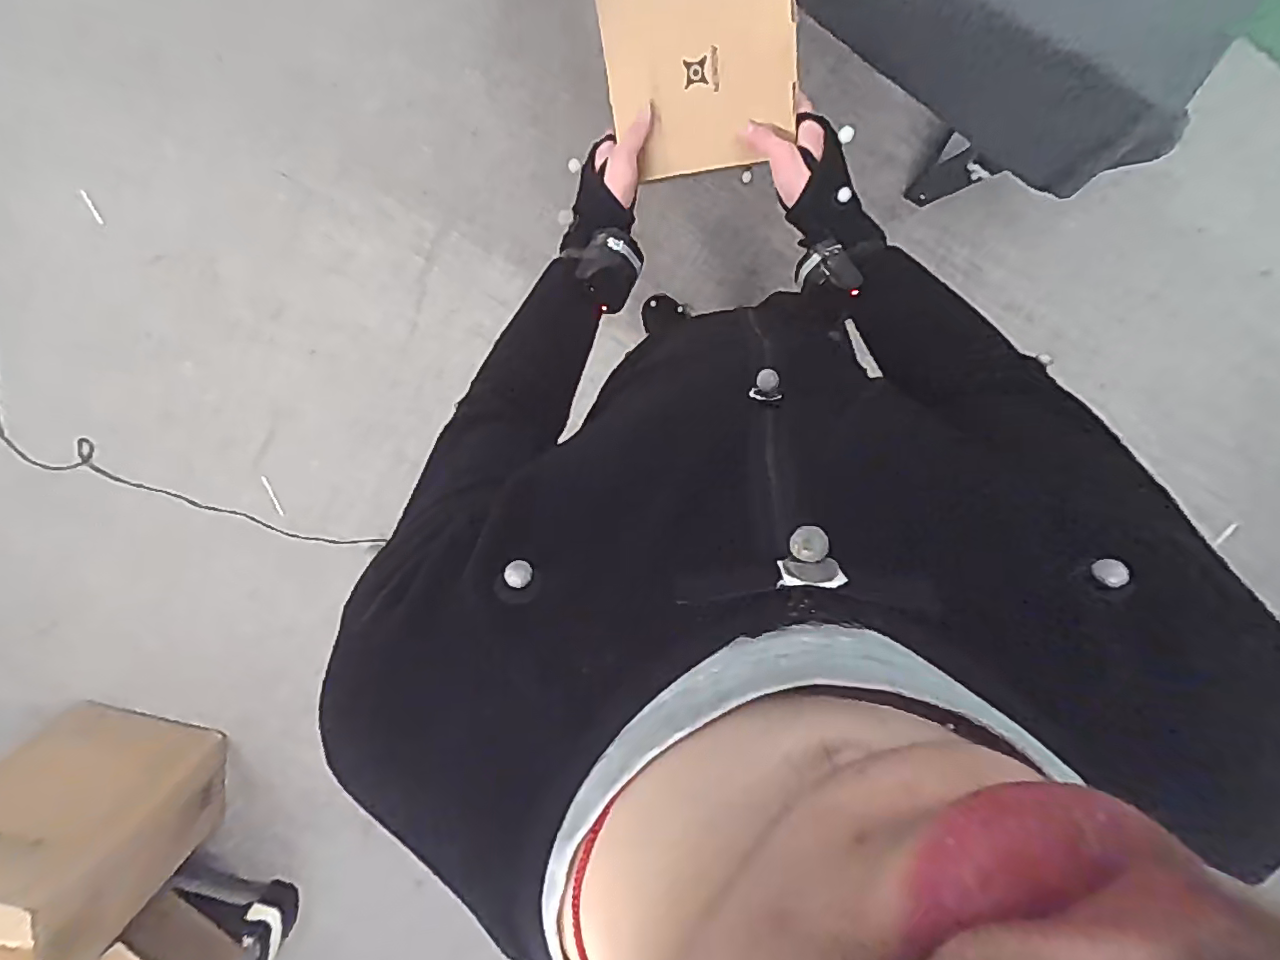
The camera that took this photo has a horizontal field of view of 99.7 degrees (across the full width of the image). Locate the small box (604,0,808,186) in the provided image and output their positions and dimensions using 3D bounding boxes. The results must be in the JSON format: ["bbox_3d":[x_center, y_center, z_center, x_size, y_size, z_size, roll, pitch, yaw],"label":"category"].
[{"bbox_3d":[0.071,-0.415,0.565,0.179,0.176,0.168,-5,117,10],"label":"small box"}]
